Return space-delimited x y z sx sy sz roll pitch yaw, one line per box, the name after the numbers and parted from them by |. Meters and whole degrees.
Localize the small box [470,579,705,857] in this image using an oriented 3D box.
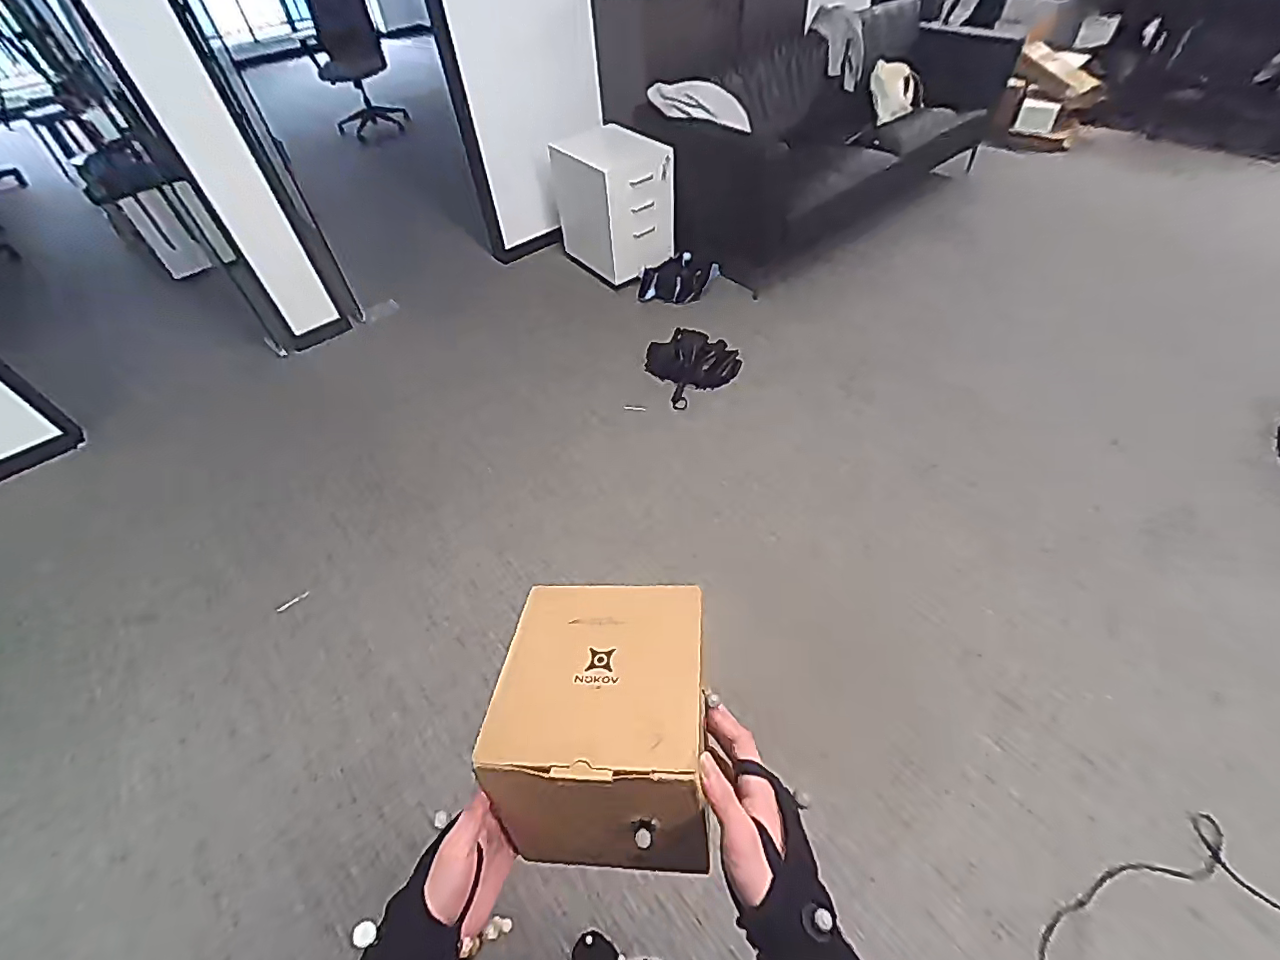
-0.027 0.211 0.490 0.168 0.176 0.179 -1 35 8 | small box
